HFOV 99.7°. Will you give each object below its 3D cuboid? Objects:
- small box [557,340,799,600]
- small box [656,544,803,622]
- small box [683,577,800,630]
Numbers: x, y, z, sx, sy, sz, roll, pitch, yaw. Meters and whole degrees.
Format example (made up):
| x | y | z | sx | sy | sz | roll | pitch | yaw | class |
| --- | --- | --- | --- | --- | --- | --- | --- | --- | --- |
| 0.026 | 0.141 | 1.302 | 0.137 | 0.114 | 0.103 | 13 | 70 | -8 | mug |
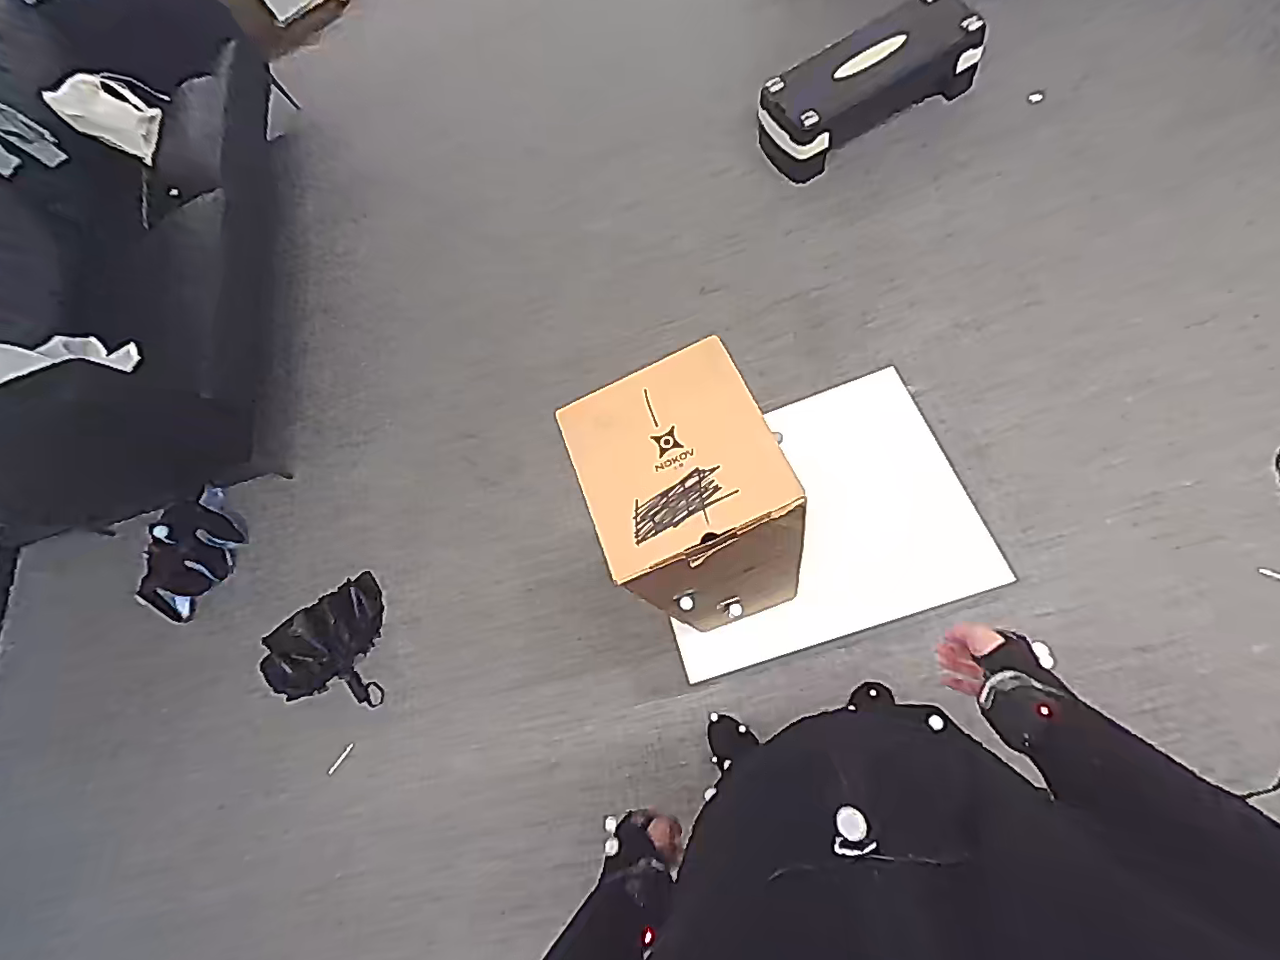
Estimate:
| x | y | z | sx | sy | sz | roll | pitch | yaw | class |
| --- | --- | --- | --- | --- | --- | --- | --- | --- | --- |
| 0.045 | 0.006 | 0.528 | 0.168 | 0.176 | 0.179 | -25 | 64 | 6 | small box |
| 0.088 | 0.062 | 0.677 | 0.168 | 0.176 | 0.179 | -24 | 66 | 6 | small box |
| 0.129 | 0.118 | 0.827 | 0.168 | 0.176 | 0.179 | -21 | 68 | 6 | small box |
